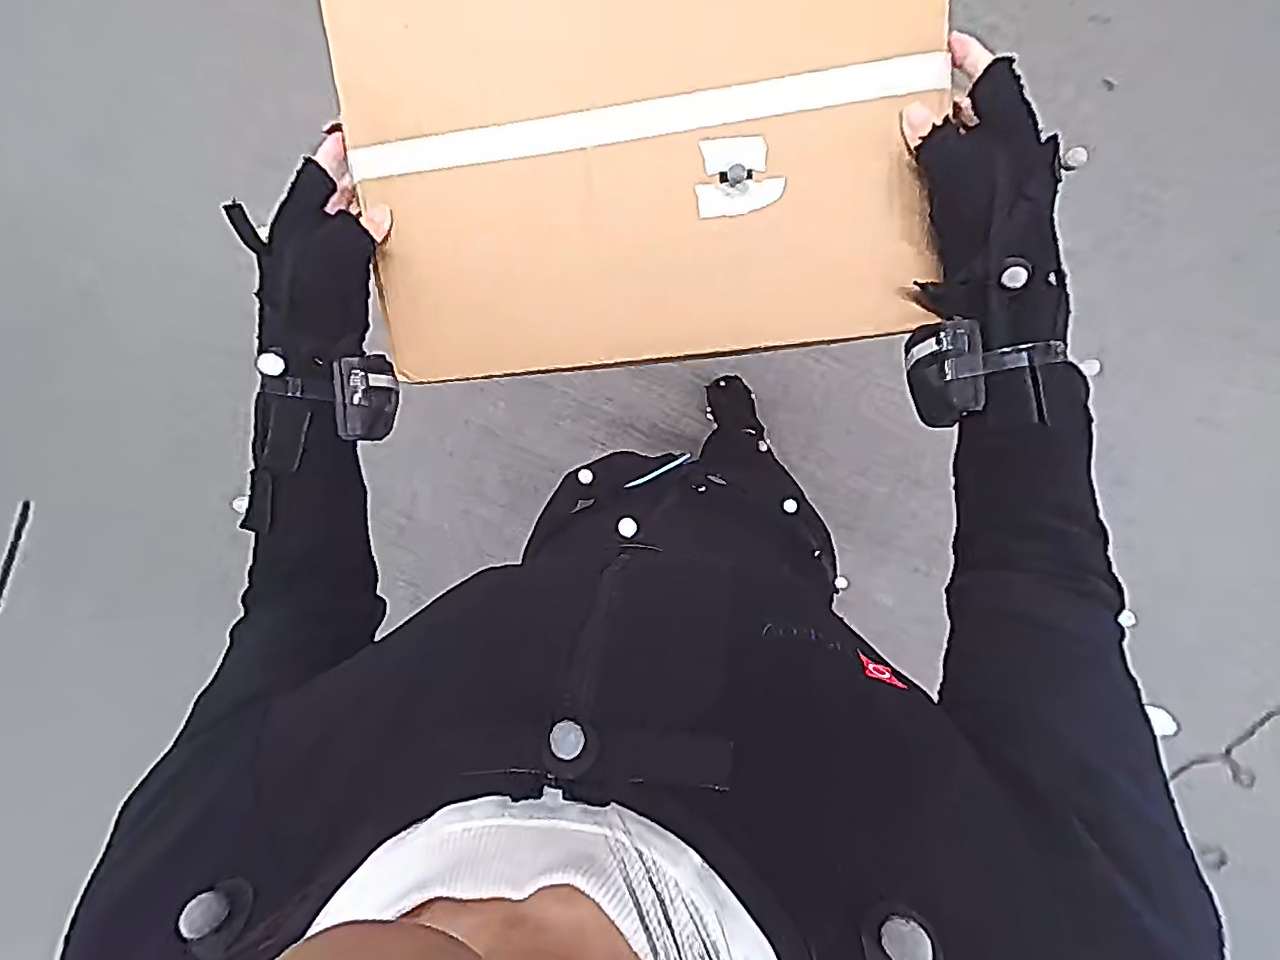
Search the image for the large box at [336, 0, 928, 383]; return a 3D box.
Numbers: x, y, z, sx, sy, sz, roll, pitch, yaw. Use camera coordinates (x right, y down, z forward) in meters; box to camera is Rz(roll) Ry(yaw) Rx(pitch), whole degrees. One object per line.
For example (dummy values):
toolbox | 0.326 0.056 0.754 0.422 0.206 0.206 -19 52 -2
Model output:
large box | 0.005 -0.278 0.529 0.408 0.320 0.320 -6 102 6
